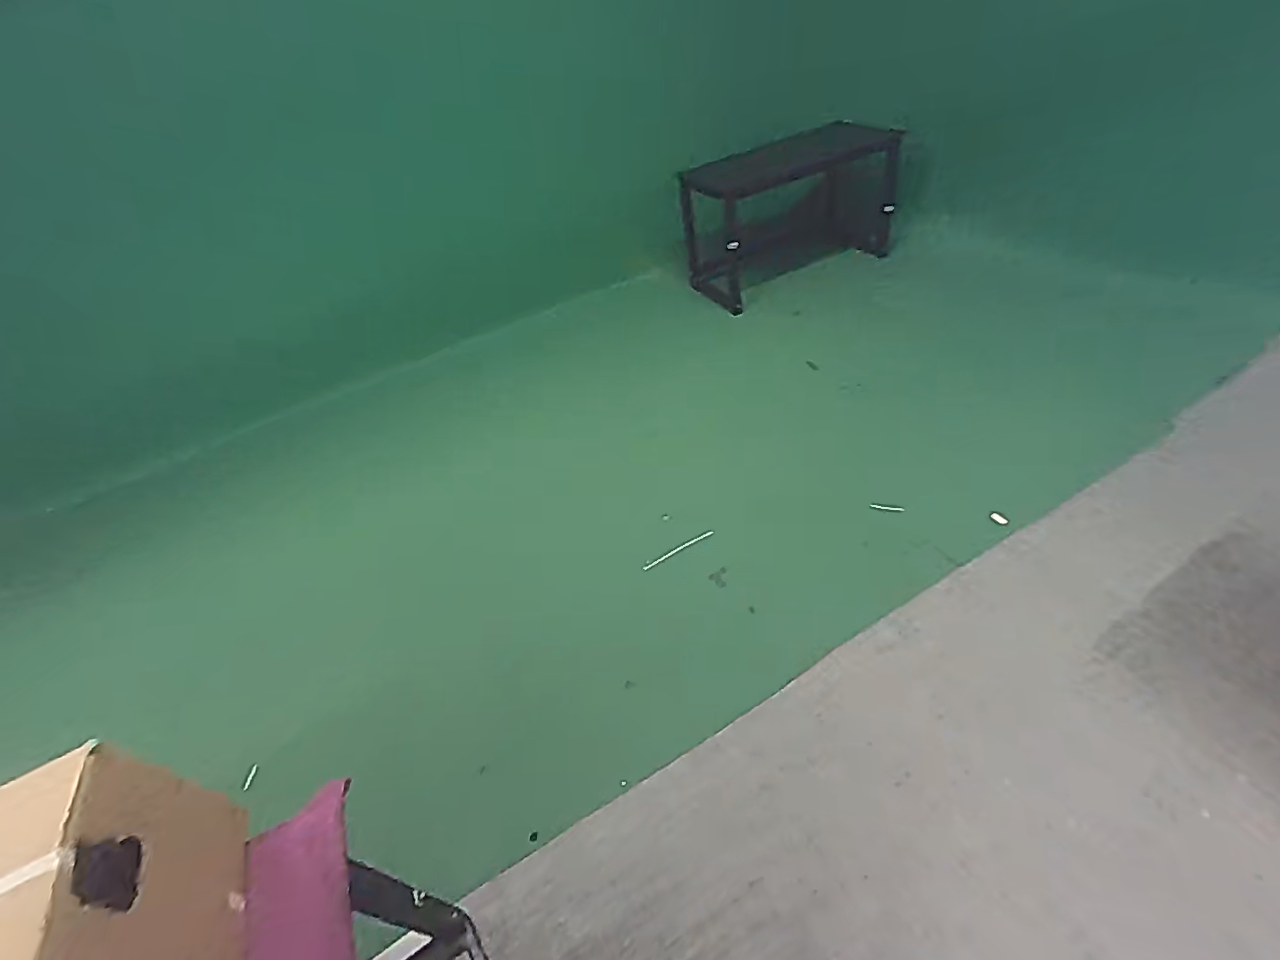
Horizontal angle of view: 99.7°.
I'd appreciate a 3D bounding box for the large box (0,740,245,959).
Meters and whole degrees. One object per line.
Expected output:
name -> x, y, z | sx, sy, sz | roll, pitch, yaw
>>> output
large box -> -0.804, 0.625, 0.675 | 0.408, 0.320, 0.320 | -26, 45, -14
